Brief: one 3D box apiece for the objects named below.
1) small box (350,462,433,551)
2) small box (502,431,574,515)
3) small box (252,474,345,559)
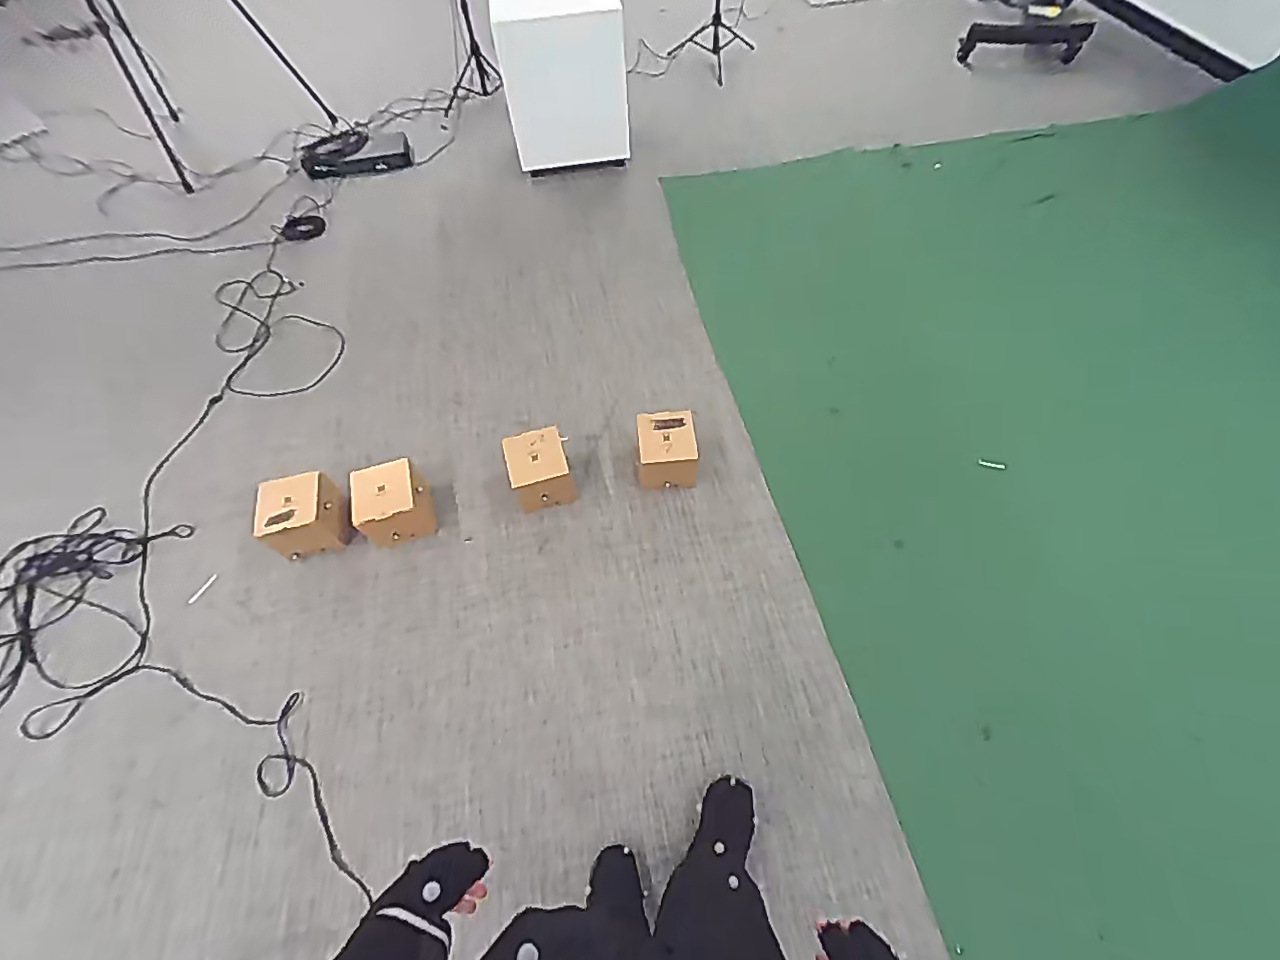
[{"bbox_3d":[-0.714,0.078,1.560,0.168,0.176,0.179,-16,61,-7],"label":"small box"},{"bbox_3d":[-0.299,-0.013,1.602,0.168,0.176,0.179,-15,60,-8],"label":"small box"},{"bbox_3d":[-0.966,0.112,1.546,0.168,0.176,0.179,-13,59,-6],"label":"small box"}]
